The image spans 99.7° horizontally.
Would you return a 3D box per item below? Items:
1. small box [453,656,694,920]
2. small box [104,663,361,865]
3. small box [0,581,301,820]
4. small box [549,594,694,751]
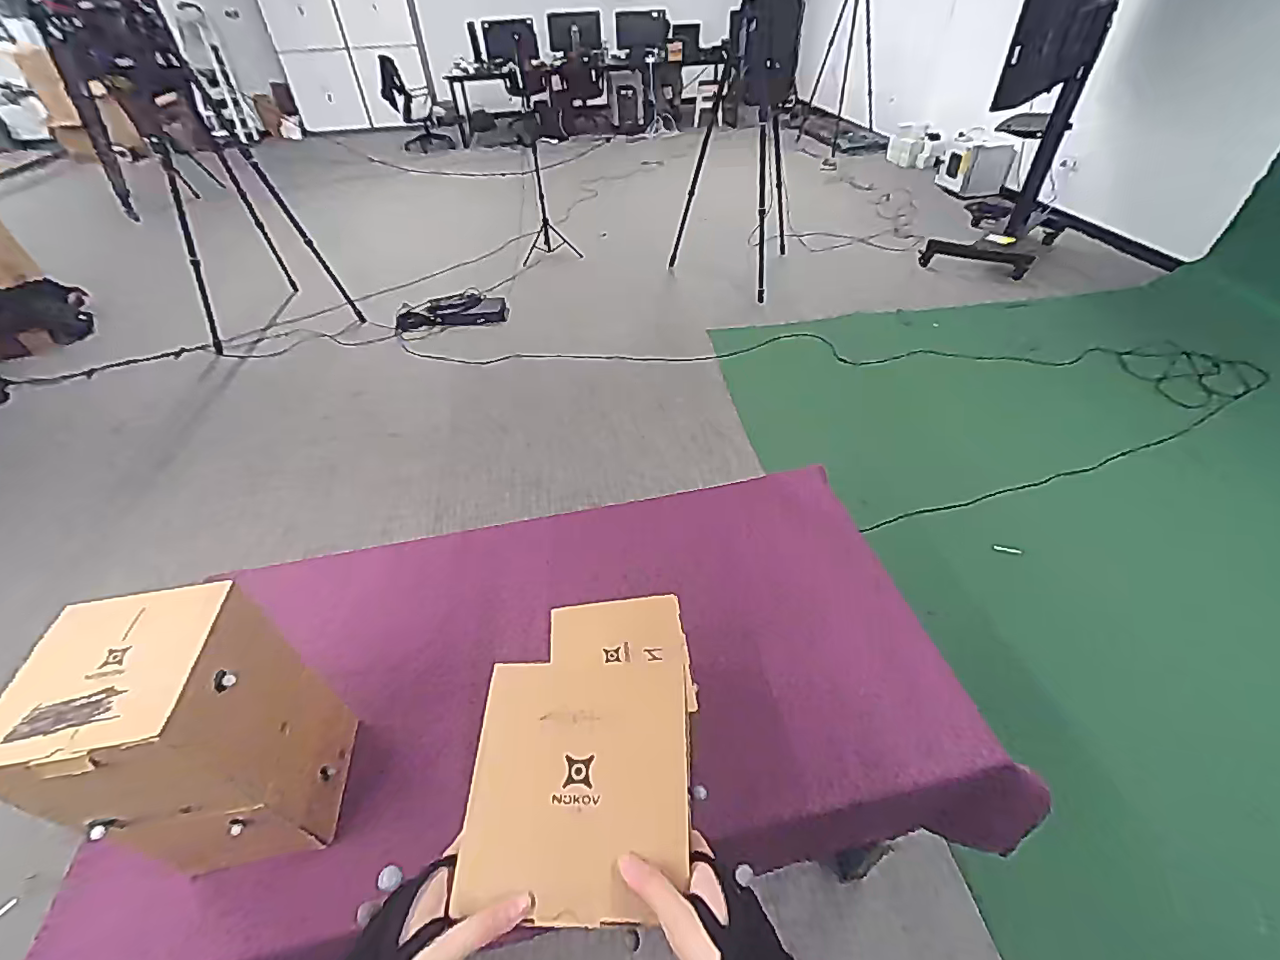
[{"bbox_3d":[-0.039,0.269,0.477,0.168,0.176,0.179,-2,52,6],"label":"small box"},{"bbox_3d":[-0.491,0.363,0.689,0.179,0.176,0.168,-8,43,-5],"label":"small box"},{"bbox_3d":[-0.502,0.239,0.581,0.168,0.176,0.179,-9,42,-6],"label":"small box"},{"bbox_3d":[-0.023,0.279,0.737,0.179,0.176,0.168,-6,43,-2],"label":"small box"}]
